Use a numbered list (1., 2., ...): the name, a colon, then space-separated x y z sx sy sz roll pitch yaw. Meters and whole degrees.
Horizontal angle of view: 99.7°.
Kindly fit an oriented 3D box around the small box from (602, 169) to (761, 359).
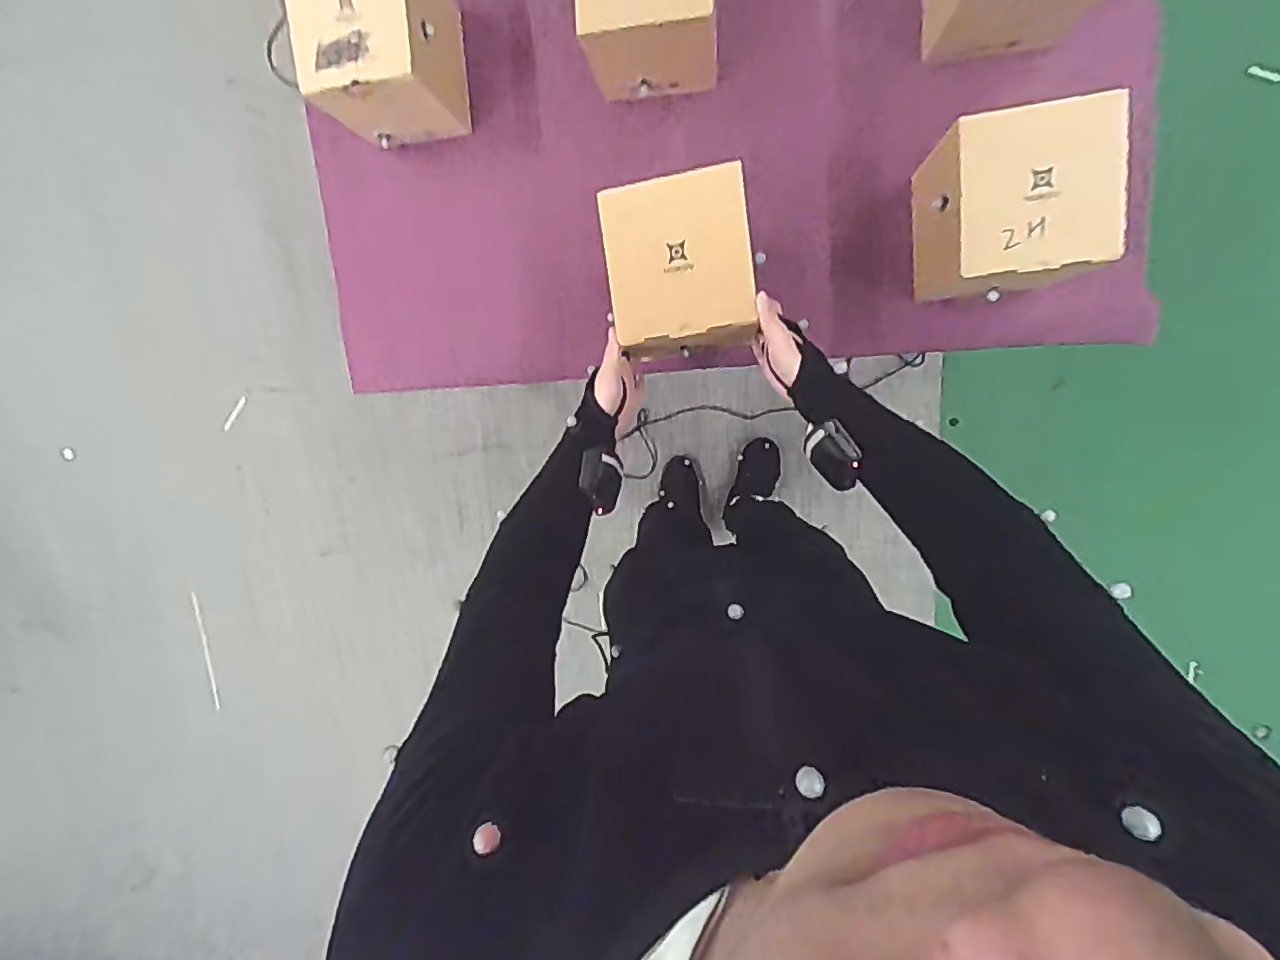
1. small box: 0.057 -0.258 0.690 0.168 0.176 0.179 -7 98 9

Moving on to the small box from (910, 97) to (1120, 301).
1. small box: 0.453 -0.335 0.683 0.168 0.176 0.179 -3 100 11

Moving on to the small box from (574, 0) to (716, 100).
1. small box: 0.012 -0.632 0.696 0.168 0.176 0.179 0 101 9

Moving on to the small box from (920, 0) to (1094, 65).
1. small box: 0.444 -0.636 0.632 0.168 0.176 0.179 -1 100 9

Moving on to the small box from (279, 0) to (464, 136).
1. small box: -0.361 -0.605 0.750 0.168 0.176 0.179 -2 101 8
